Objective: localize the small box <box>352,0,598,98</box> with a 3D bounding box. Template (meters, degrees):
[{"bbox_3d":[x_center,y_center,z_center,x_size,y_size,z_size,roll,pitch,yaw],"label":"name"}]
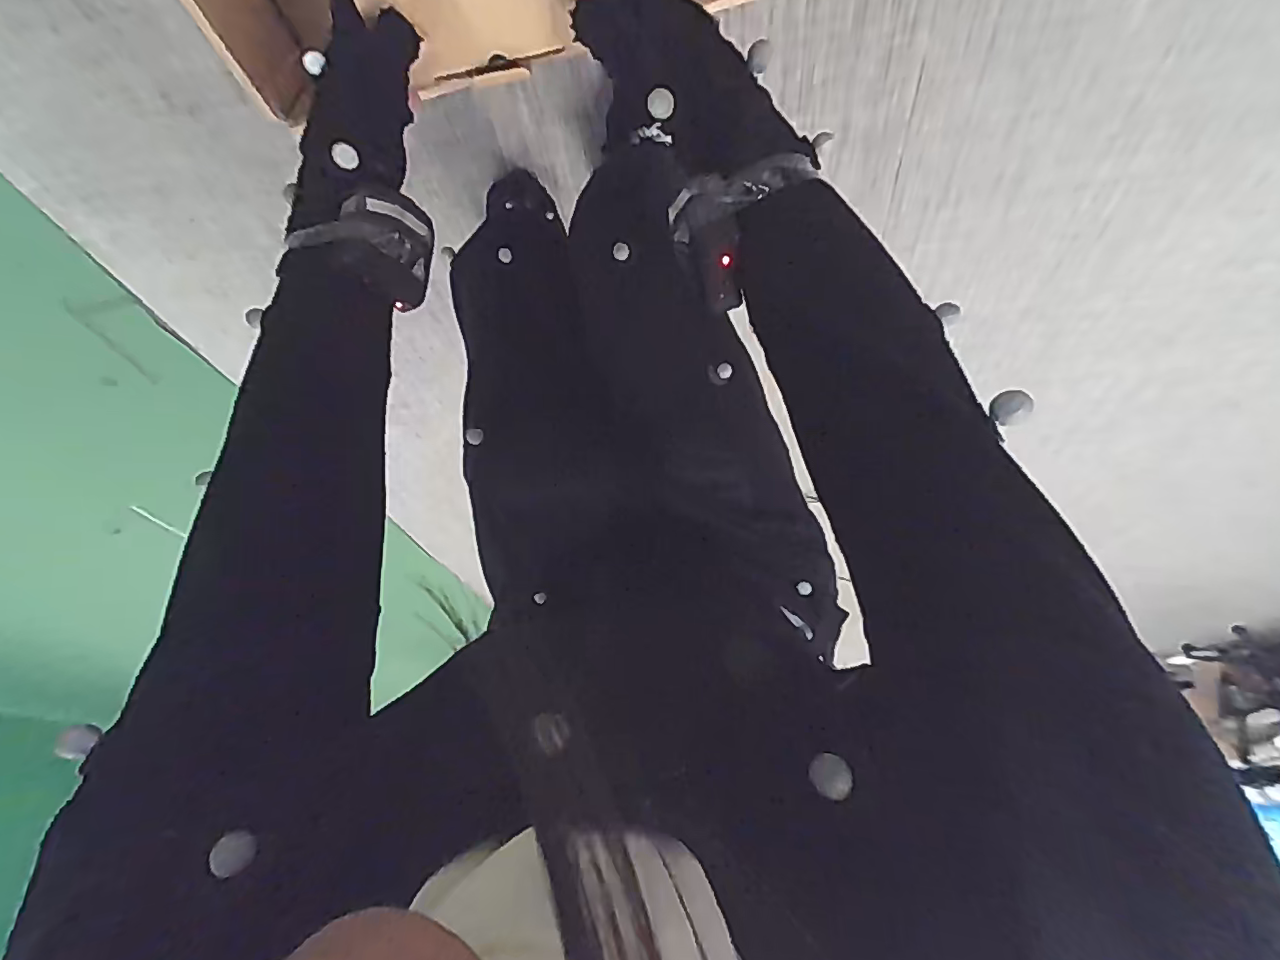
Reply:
[{"bbox_3d":[-0.127,-0.421,0.387,0.168,0.176,0.179,-9,147,5],"label":"small box"}]
